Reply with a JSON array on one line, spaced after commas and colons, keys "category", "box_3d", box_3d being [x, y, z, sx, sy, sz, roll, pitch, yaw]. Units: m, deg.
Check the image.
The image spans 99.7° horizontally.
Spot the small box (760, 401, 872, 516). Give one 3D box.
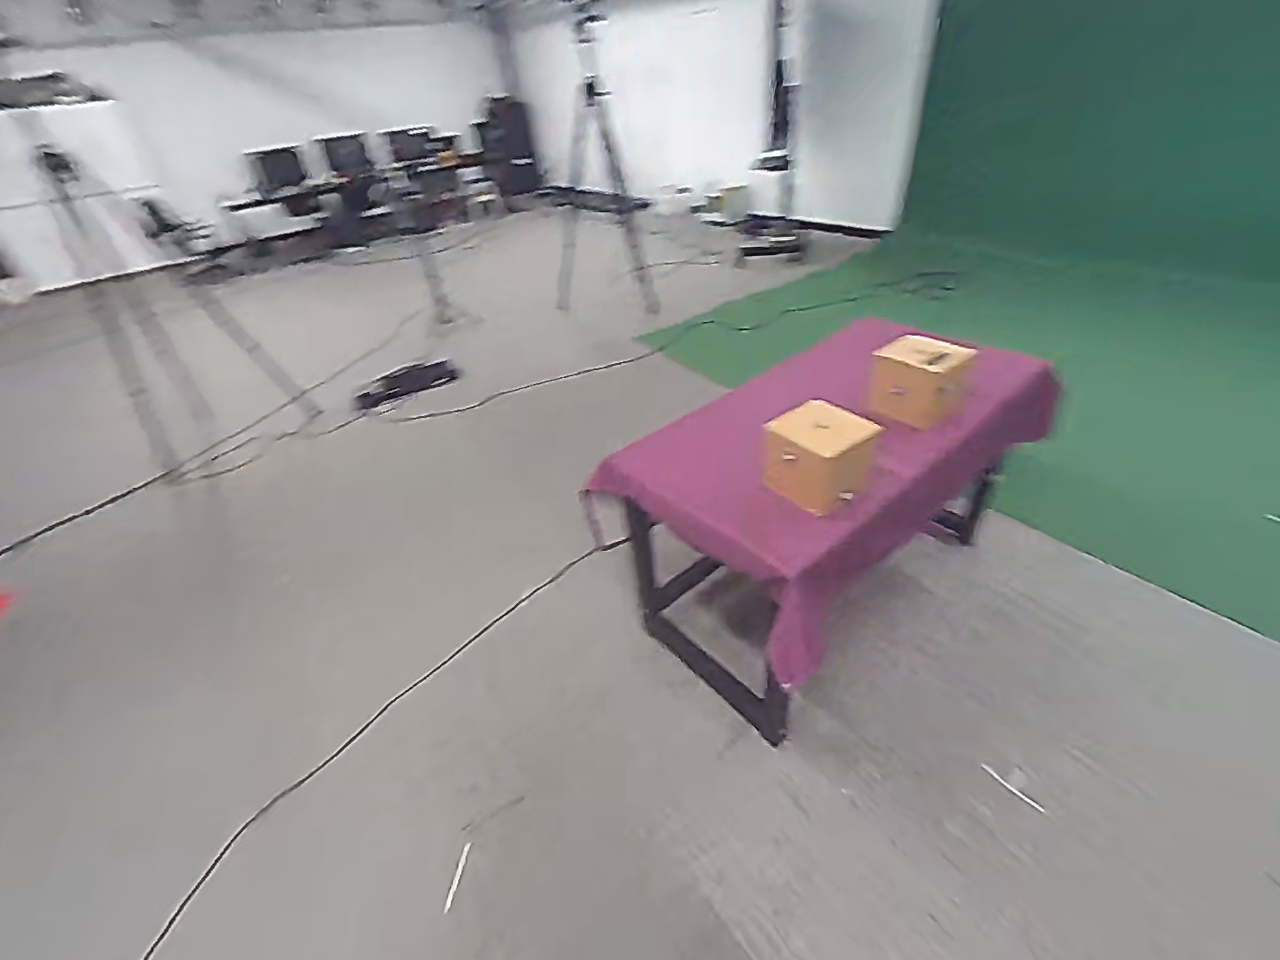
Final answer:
[{"category": "small box", "box_3d": [0.384, -0.048, 1.212, 0.168, 0.176, 0.179, -27, 41, -24]}]
